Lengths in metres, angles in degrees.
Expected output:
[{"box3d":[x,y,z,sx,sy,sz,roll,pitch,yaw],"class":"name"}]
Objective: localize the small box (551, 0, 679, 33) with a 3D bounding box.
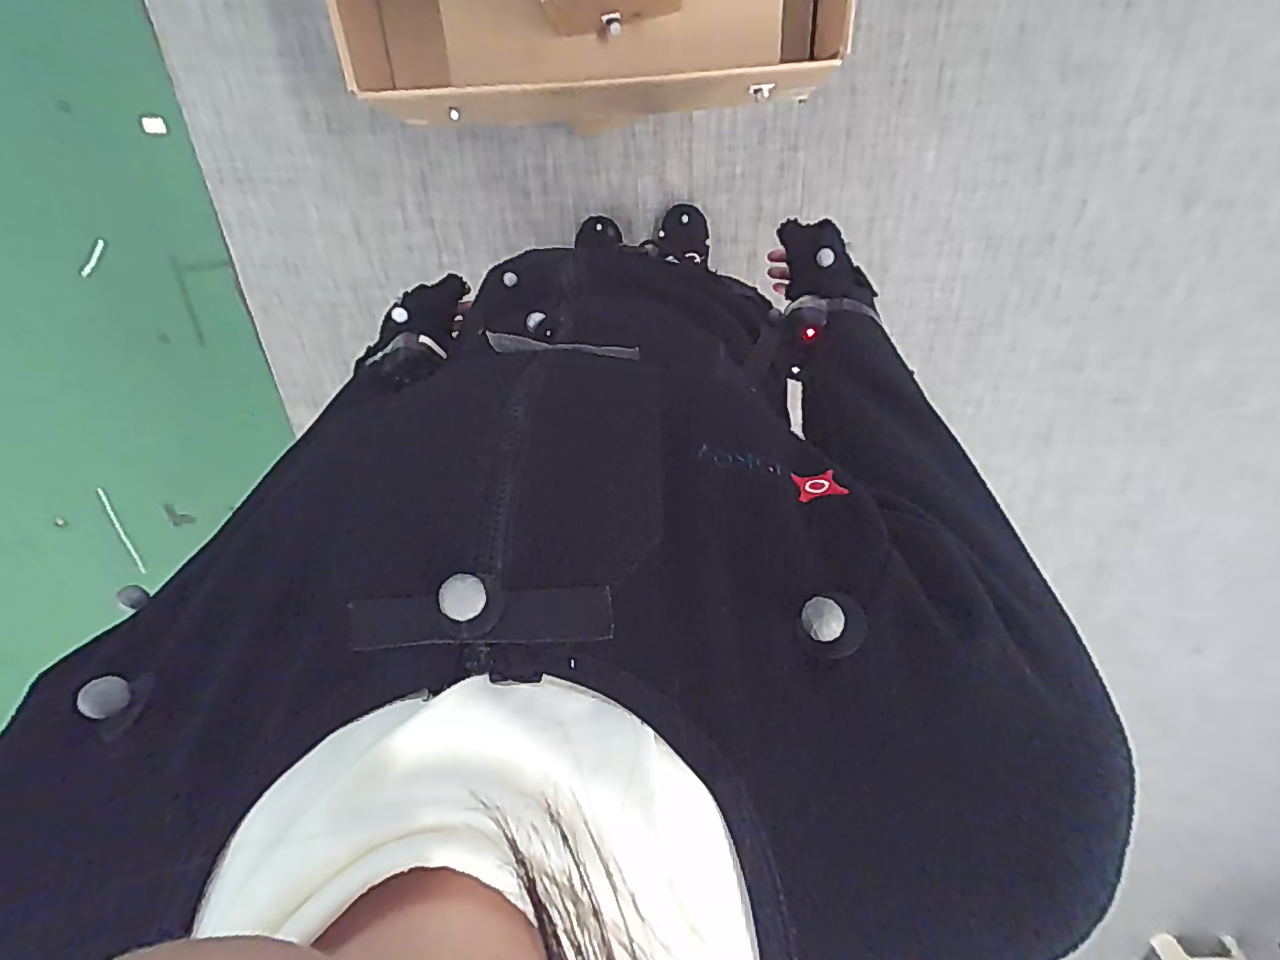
[{"box3d":[-0.043,-0.670,0.635,0.168,0.176,0.179,-7,117,8],"class":"small box"}]
